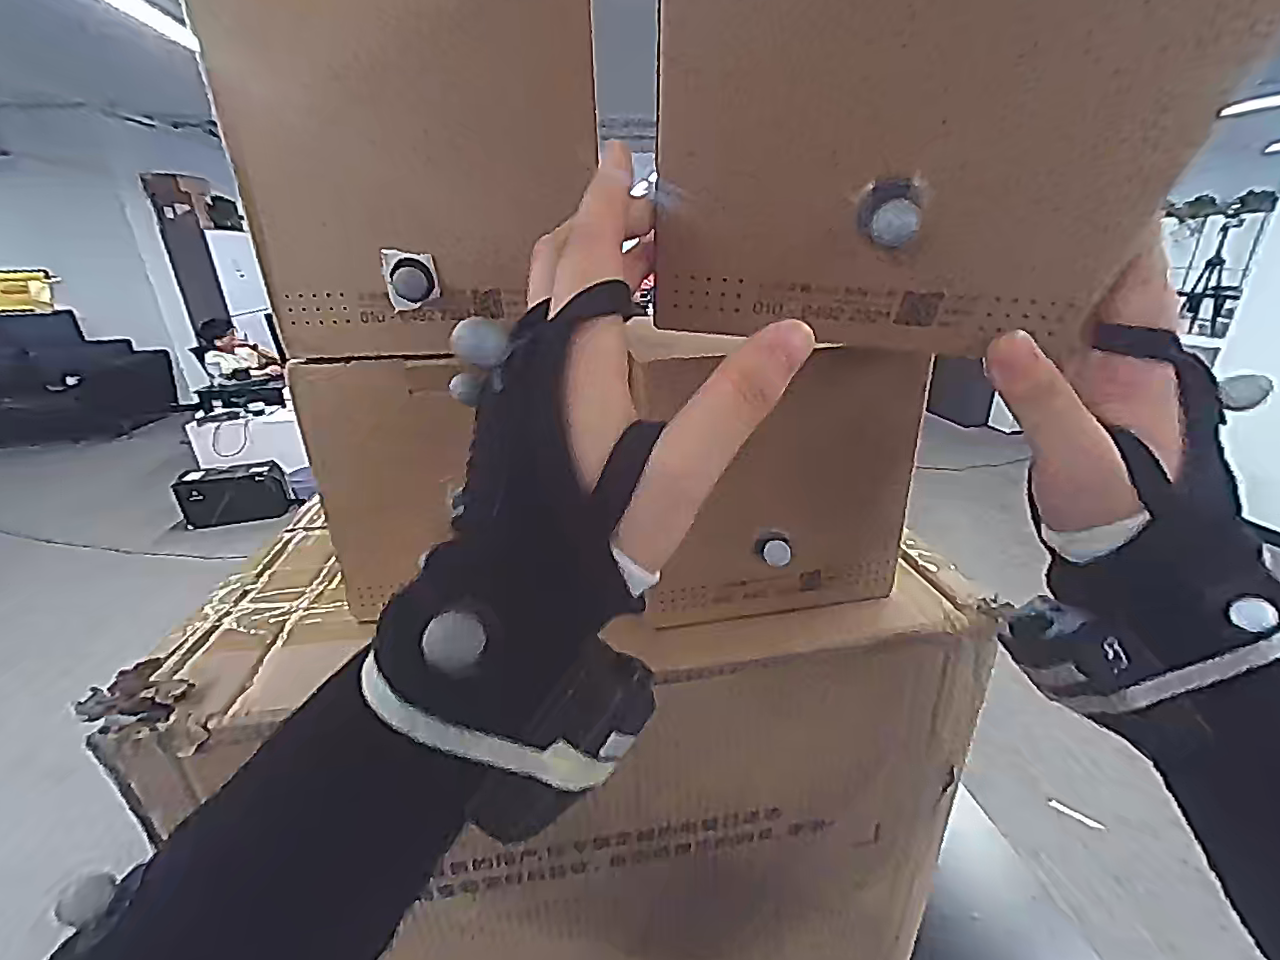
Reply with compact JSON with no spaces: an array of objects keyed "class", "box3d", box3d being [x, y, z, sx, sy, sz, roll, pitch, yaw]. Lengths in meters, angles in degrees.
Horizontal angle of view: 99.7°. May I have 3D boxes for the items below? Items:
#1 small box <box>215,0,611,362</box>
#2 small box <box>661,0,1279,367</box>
[{"class":"small box","box3d":[-0.109,-0.173,0.336,0.168,0.176,0.179,-5,25,-7]},{"class":"small box","box3d":[0.100,-0.173,0.223,0.168,0.176,0.179,6,51,5]}]
